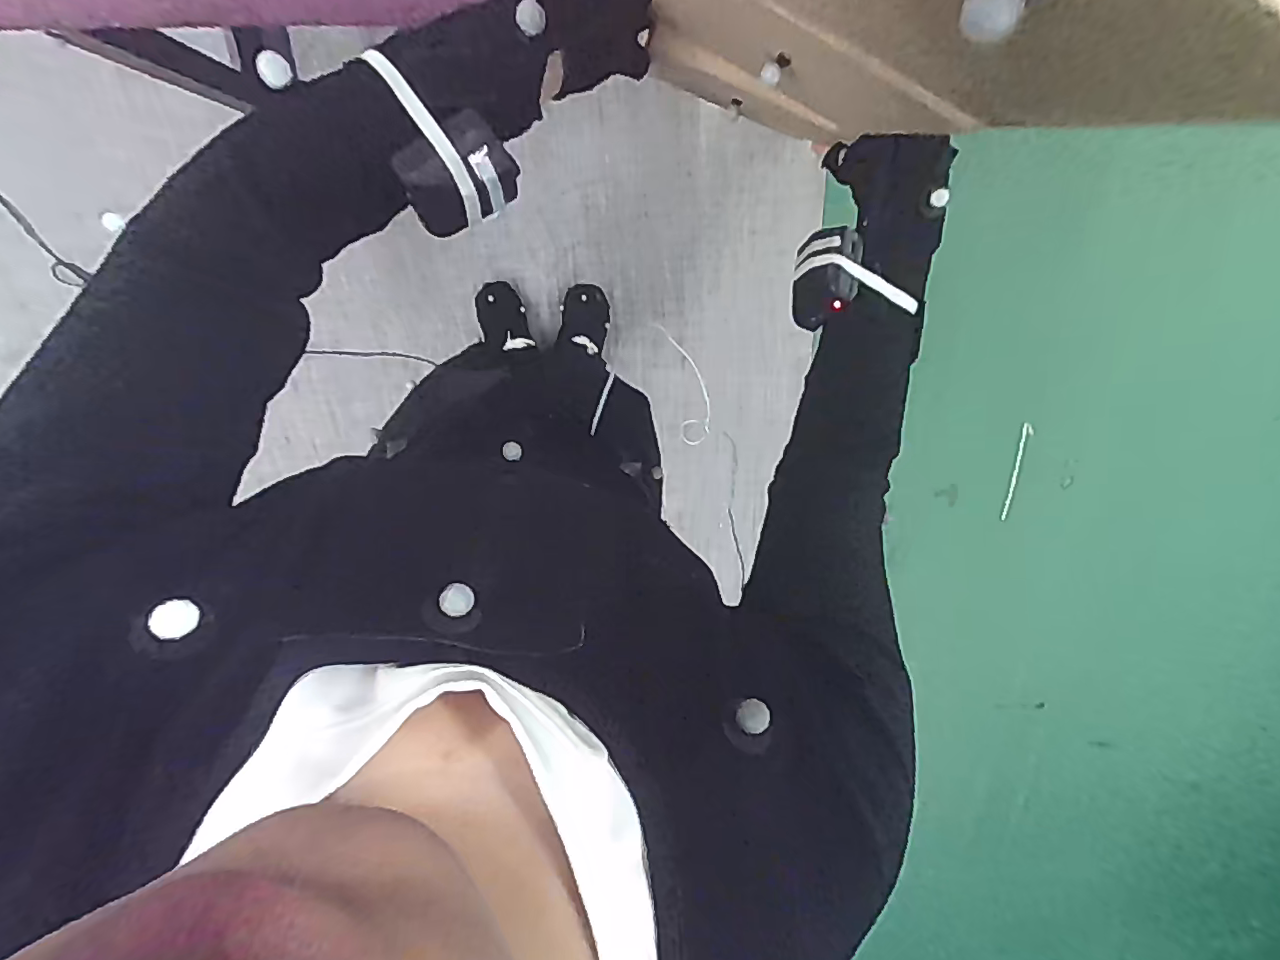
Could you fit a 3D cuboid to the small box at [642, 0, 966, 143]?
[{"bbox_3d":[0.113,-0.311,0.290,0.179,0.176,0.168,19,118,-15],"label":"small box"}]
